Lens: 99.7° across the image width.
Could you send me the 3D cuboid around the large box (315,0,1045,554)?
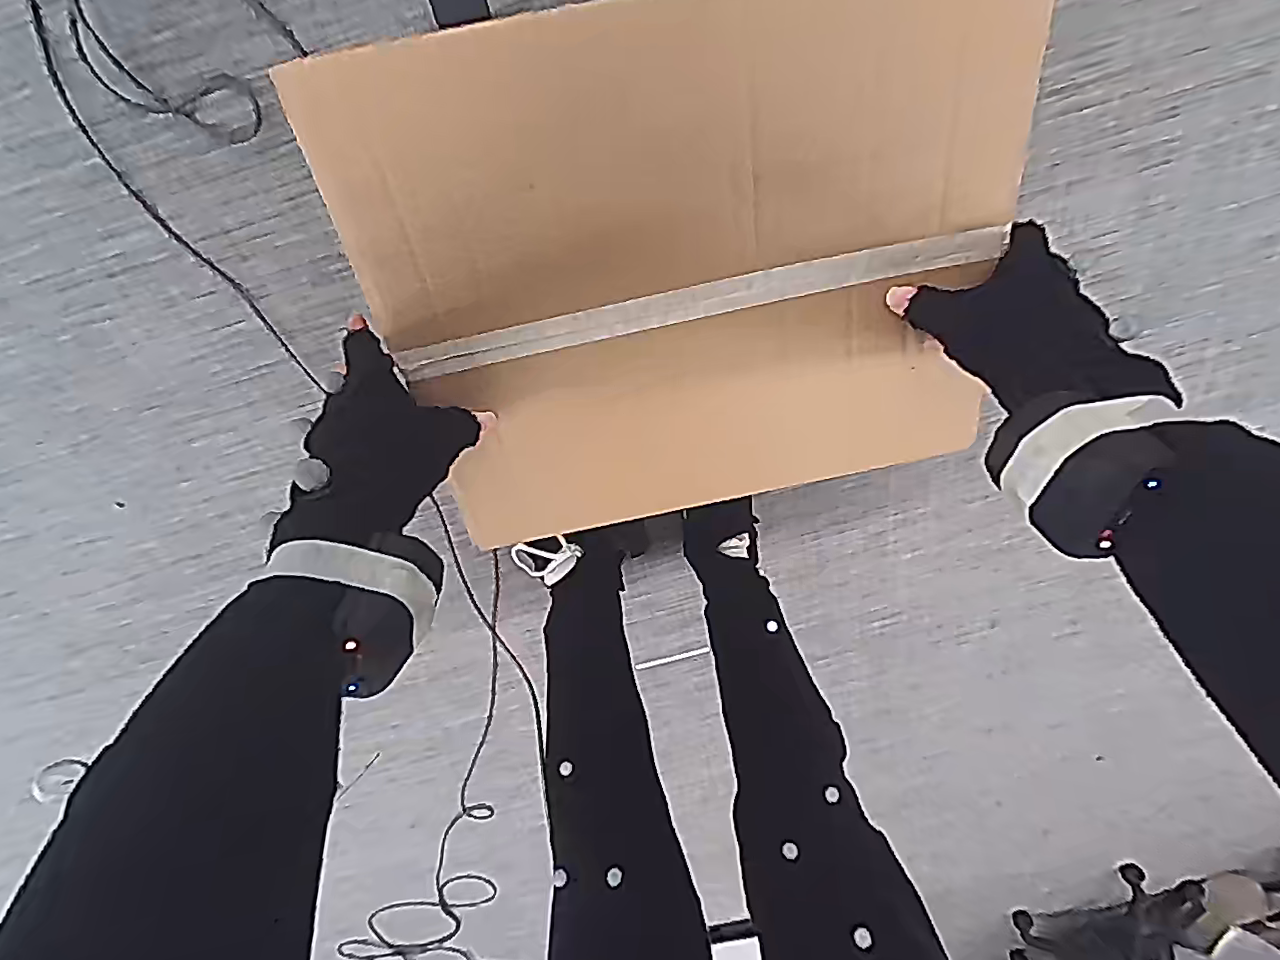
[{"bbox_3d":[0.030,-0.182,0.484,0.408,0.320,0.320,-12,122,0],"label":"large box"}]
